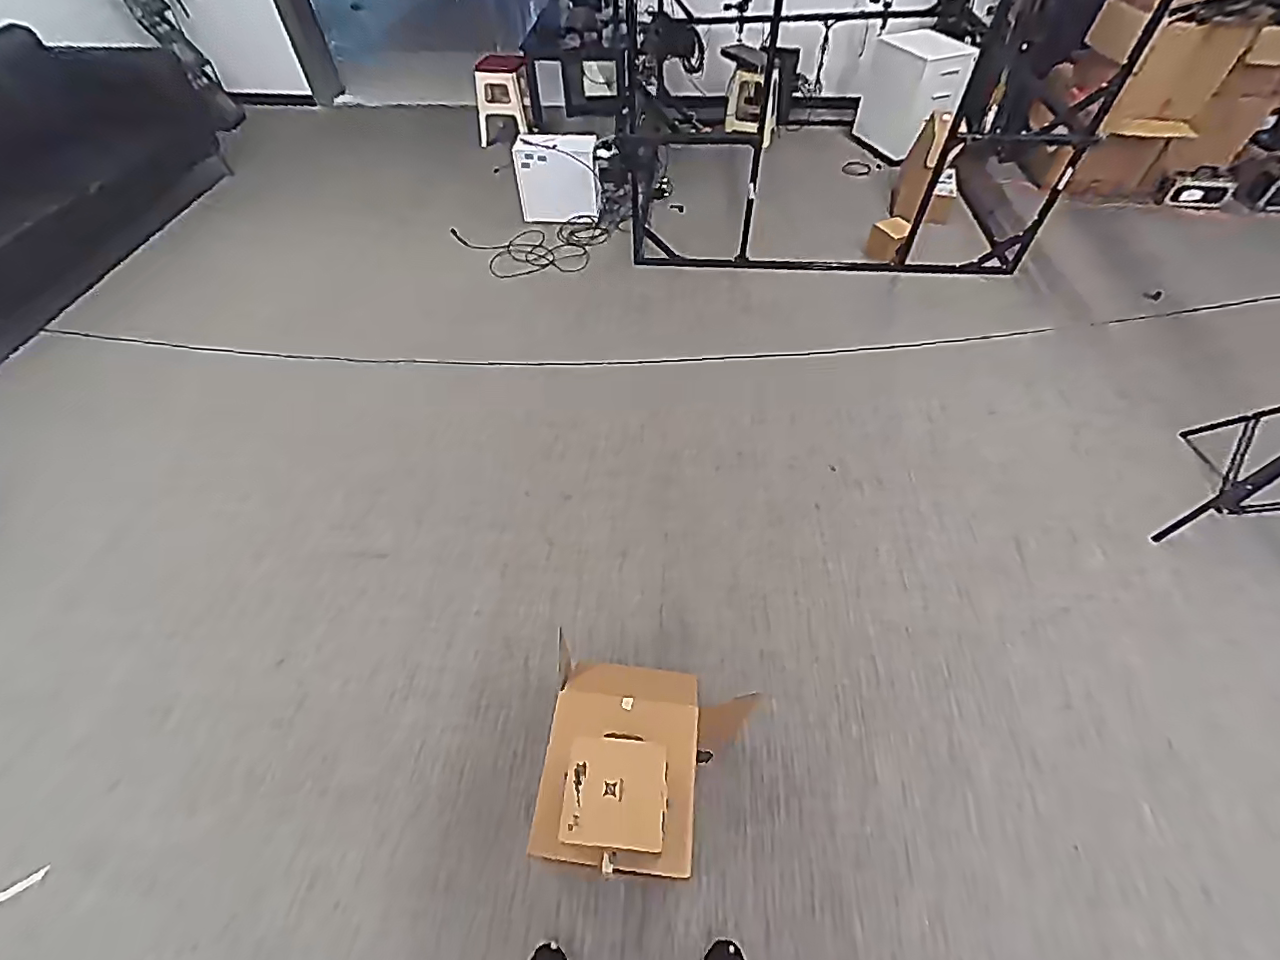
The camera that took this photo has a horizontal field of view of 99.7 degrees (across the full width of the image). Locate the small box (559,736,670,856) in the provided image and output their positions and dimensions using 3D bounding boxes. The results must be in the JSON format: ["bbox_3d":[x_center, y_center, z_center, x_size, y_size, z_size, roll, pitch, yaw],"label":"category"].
[{"bbox_3d":[-0.040,0.589,1.004,0.179,0.176,0.168,5,54,4],"label":"small box"}]
